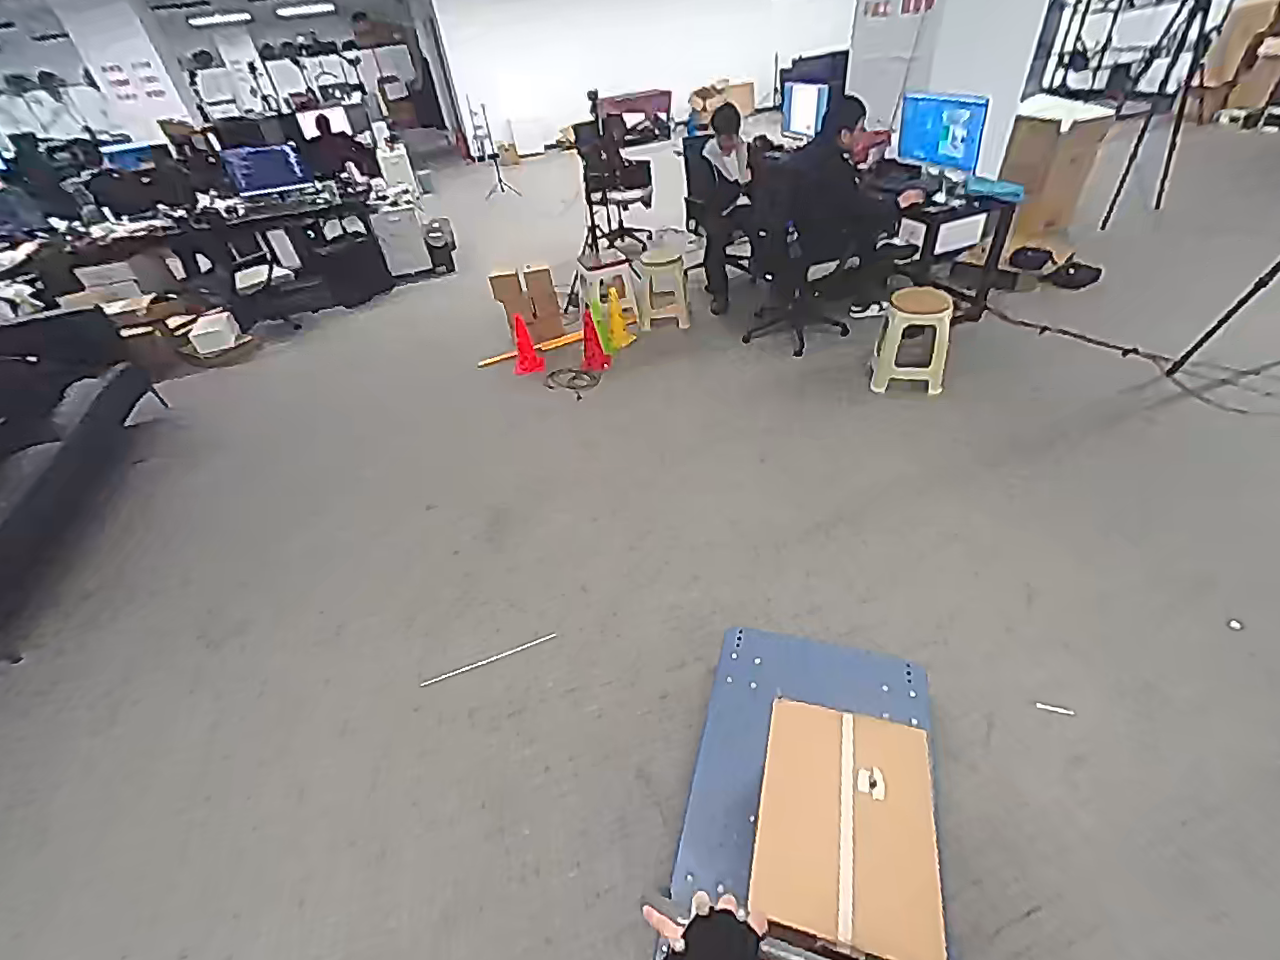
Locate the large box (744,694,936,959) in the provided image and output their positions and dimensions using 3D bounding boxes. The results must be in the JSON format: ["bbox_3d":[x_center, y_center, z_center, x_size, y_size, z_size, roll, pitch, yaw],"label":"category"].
[{"bbox_3d":[0.400,0.744,1.141,0.320,0.320,0.408,7,41,16],"label":"large box"}]
